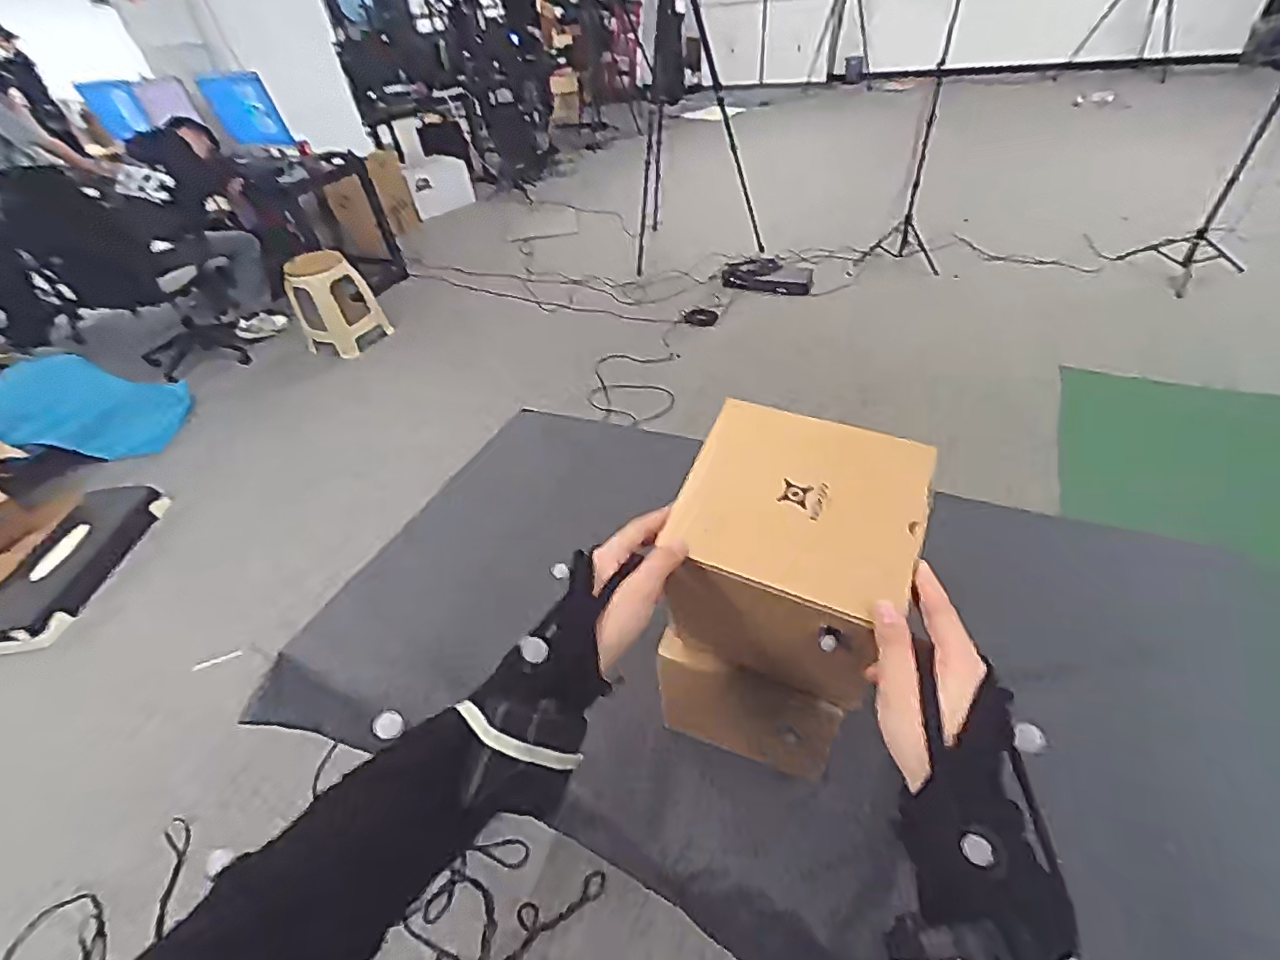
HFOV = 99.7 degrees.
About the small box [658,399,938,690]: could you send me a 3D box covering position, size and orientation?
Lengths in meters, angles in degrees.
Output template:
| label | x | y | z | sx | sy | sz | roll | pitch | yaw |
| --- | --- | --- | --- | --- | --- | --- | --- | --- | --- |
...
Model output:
| label | x | y | z | sx | sy | sz | roll | pitch | yaw |
| --- | --- | --- | --- | --- | --- | --- | --- | --- | --- |
| small box | 0.132 | 0.059 | 0.475 | 0.179 | 0.176 | 0.168 | 17 | 56 | 20 |
